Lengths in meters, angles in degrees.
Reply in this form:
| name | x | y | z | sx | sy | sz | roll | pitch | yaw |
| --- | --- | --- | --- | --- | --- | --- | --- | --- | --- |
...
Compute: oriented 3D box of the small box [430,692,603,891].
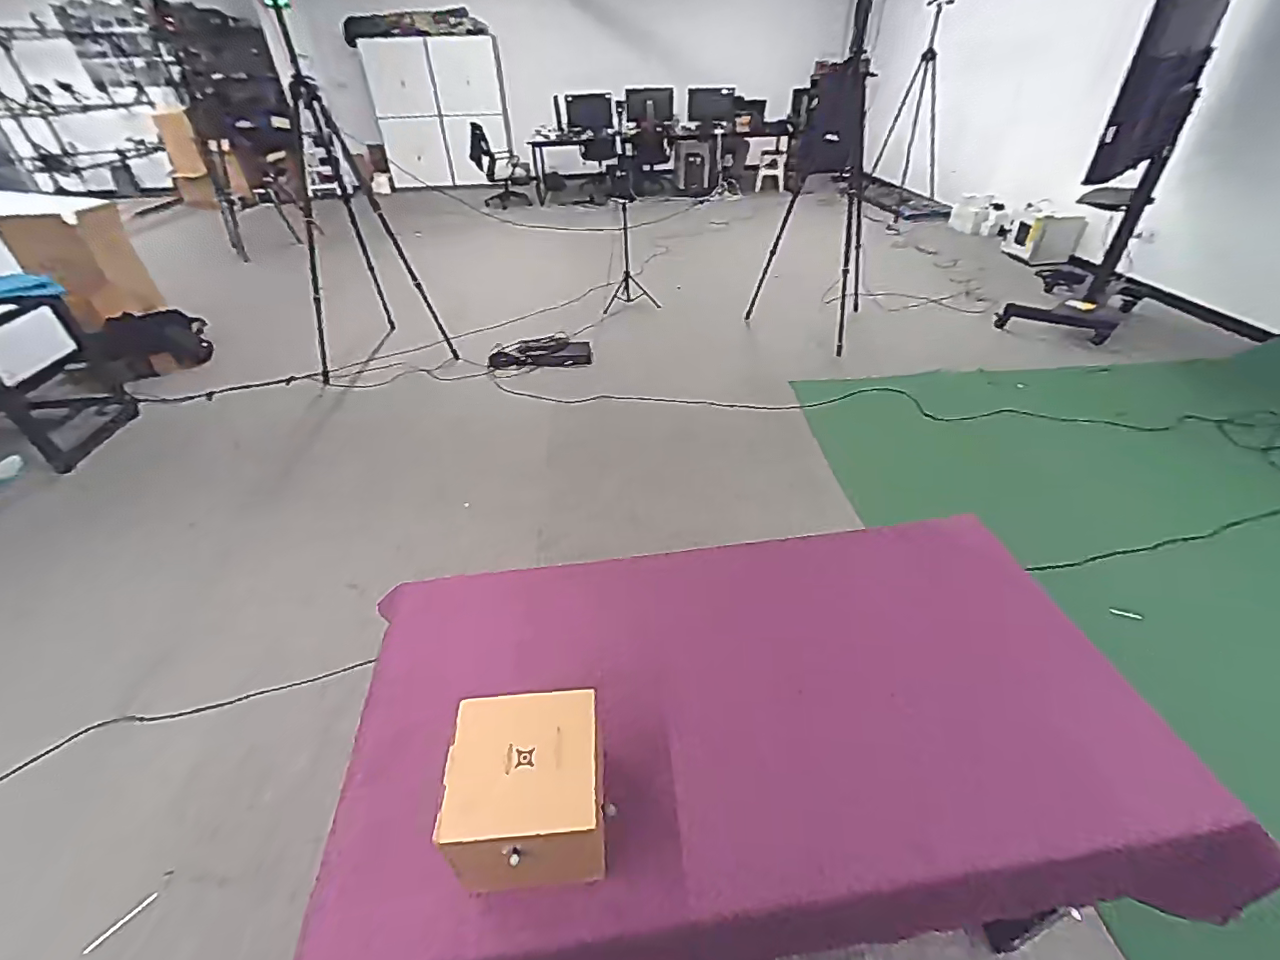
| name | x | y | z | sx | sy | sz | roll | pitch | yaw |
| --- | --- | --- | --- | --- | --- | --- | --- | --- | --- |
| small box | -0.141 | 0.396 | 0.688 | 0.179 | 0.176 | 0.168 | -4 | 38 | -3 |
